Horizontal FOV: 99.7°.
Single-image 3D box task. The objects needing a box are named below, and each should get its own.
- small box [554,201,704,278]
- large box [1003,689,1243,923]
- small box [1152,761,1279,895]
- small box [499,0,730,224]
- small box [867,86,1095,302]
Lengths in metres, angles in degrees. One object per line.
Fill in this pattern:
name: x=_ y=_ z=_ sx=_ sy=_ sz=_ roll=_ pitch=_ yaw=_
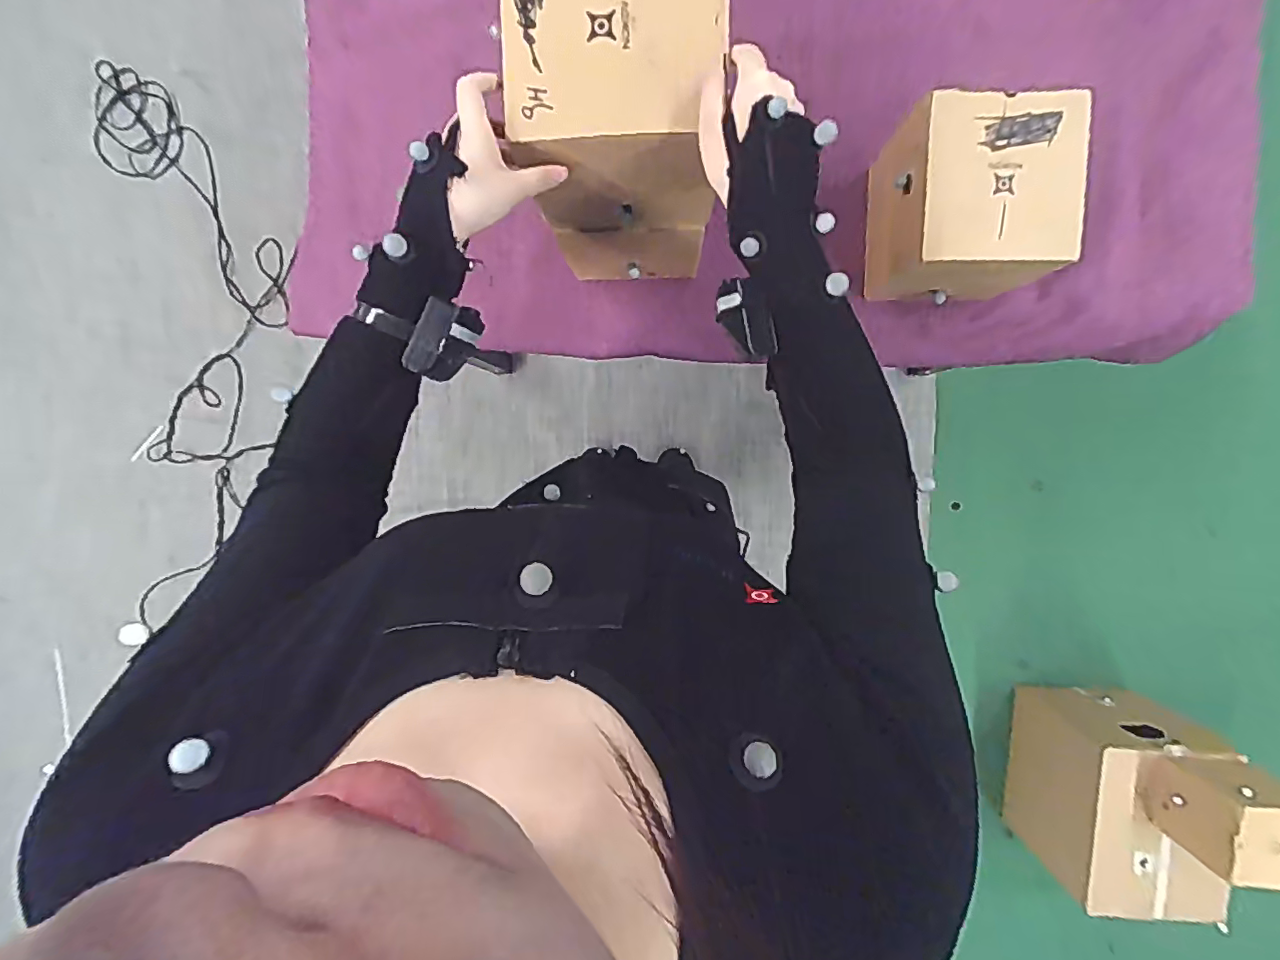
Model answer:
small box: x=-0.011 y=-0.359 z=0.649 sx=0.168 sy=0.176 sz=0.179 roll=0 pitch=93 yaw=3
large box: x=1.172 y=0.786 z=1.355 sx=0.320 sy=0.320 sz=0.408 roll=3 pitch=95 yaw=3
small box: x=1.218 y=0.701 z=1.103 sx=0.179 sy=0.176 sz=0.168 roll=3 pitch=95 yaw=2
small box: x=-0.019 y=-0.347 z=0.486 sx=0.179 sy=0.176 sz=0.168 roll=-1 pitch=92 yaw=2
small box: x=0.383 y=-0.322 z=0.638 sx=0.168 sy=0.176 sz=0.179 roll=1 pitch=95 yaw=2
